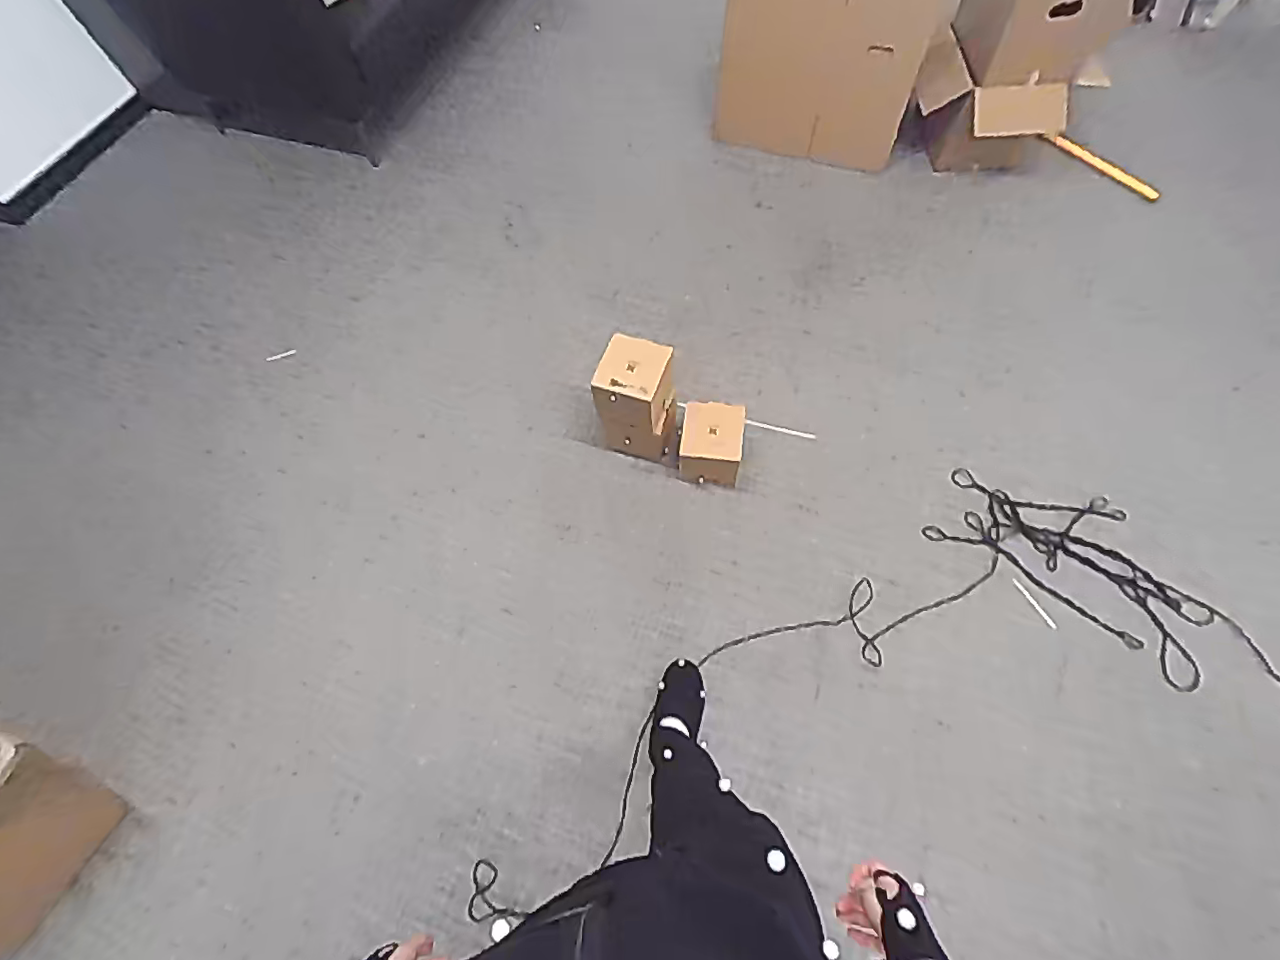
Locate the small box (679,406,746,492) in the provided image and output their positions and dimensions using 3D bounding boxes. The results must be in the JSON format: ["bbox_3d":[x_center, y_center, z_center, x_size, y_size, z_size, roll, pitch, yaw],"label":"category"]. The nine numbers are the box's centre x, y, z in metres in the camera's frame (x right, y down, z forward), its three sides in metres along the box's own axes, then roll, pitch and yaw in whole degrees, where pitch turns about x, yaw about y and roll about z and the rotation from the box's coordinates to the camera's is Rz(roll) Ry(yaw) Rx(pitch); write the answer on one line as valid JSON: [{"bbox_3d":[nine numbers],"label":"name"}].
[{"bbox_3d":[0.203,-0.086,1.528,0.168,0.176,0.179,7,65,8],"label":"small box"}]

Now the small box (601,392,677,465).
[{"bbox_3d":[0.003,-0.163,1.579,0.179,0.176,0.168,16,65,12],"label":"small box"}]

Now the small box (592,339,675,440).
[{"bbox_3d":[-0.013,-0.237,1.434,0.168,0.176,0.179,17,65,12],"label":"small box"}]
